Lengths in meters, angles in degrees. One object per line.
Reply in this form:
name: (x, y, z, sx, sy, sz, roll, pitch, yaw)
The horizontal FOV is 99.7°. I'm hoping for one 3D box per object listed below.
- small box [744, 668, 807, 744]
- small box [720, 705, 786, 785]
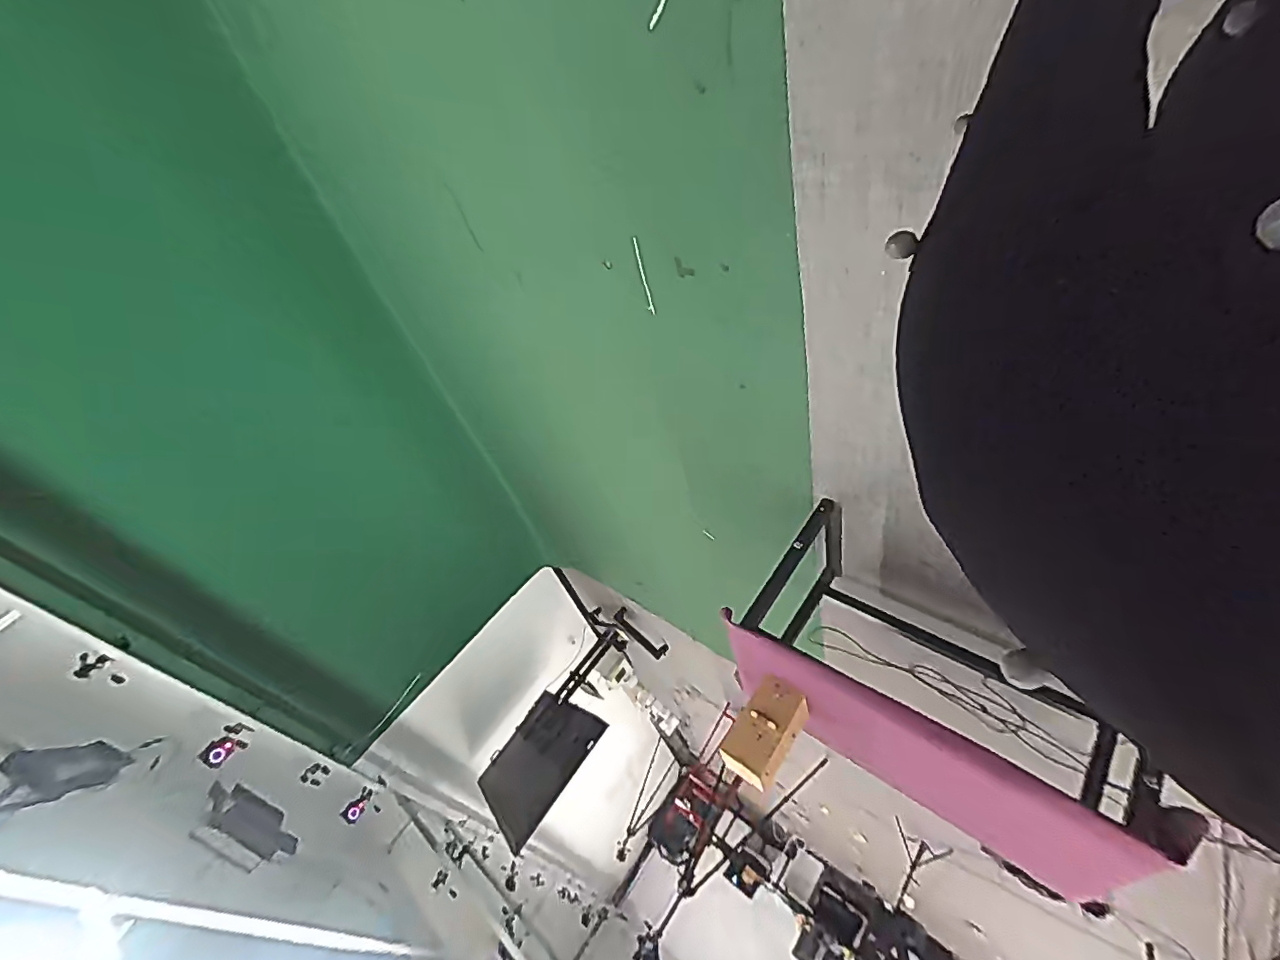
small box: (0.514, 0.843, 2.023, 0.168, 0.176, 0.179, 19, 146, 36)
small box: (0.415, 0.955, 1.957, 0.168, 0.176, 0.179, 20, 146, 36)
